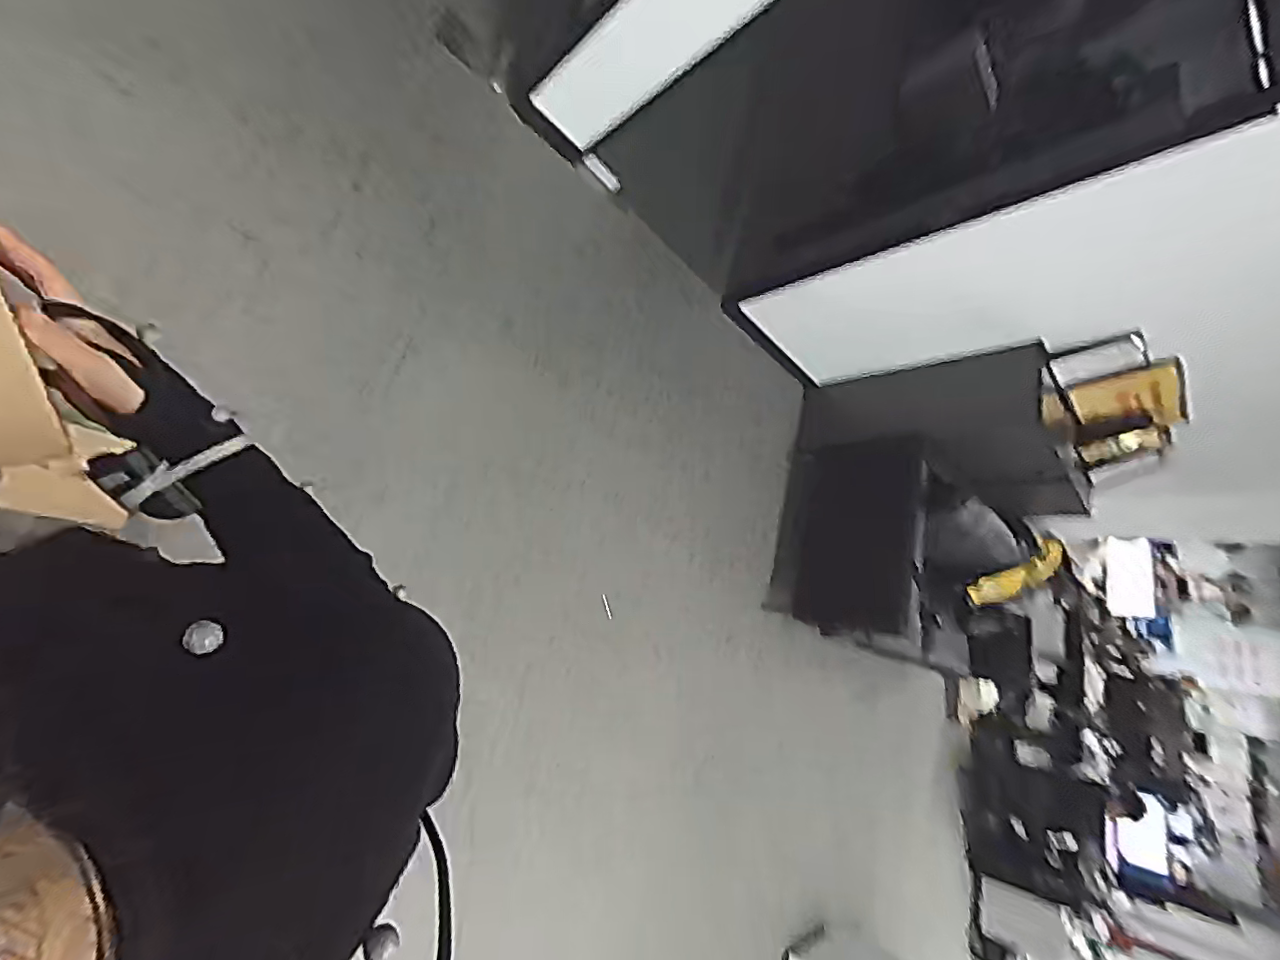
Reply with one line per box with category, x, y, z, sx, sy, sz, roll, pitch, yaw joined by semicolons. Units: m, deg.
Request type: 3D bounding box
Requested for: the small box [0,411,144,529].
small box;-1.069;-0.012;1.003;0.179;0.176;0.168;24;70;-40
